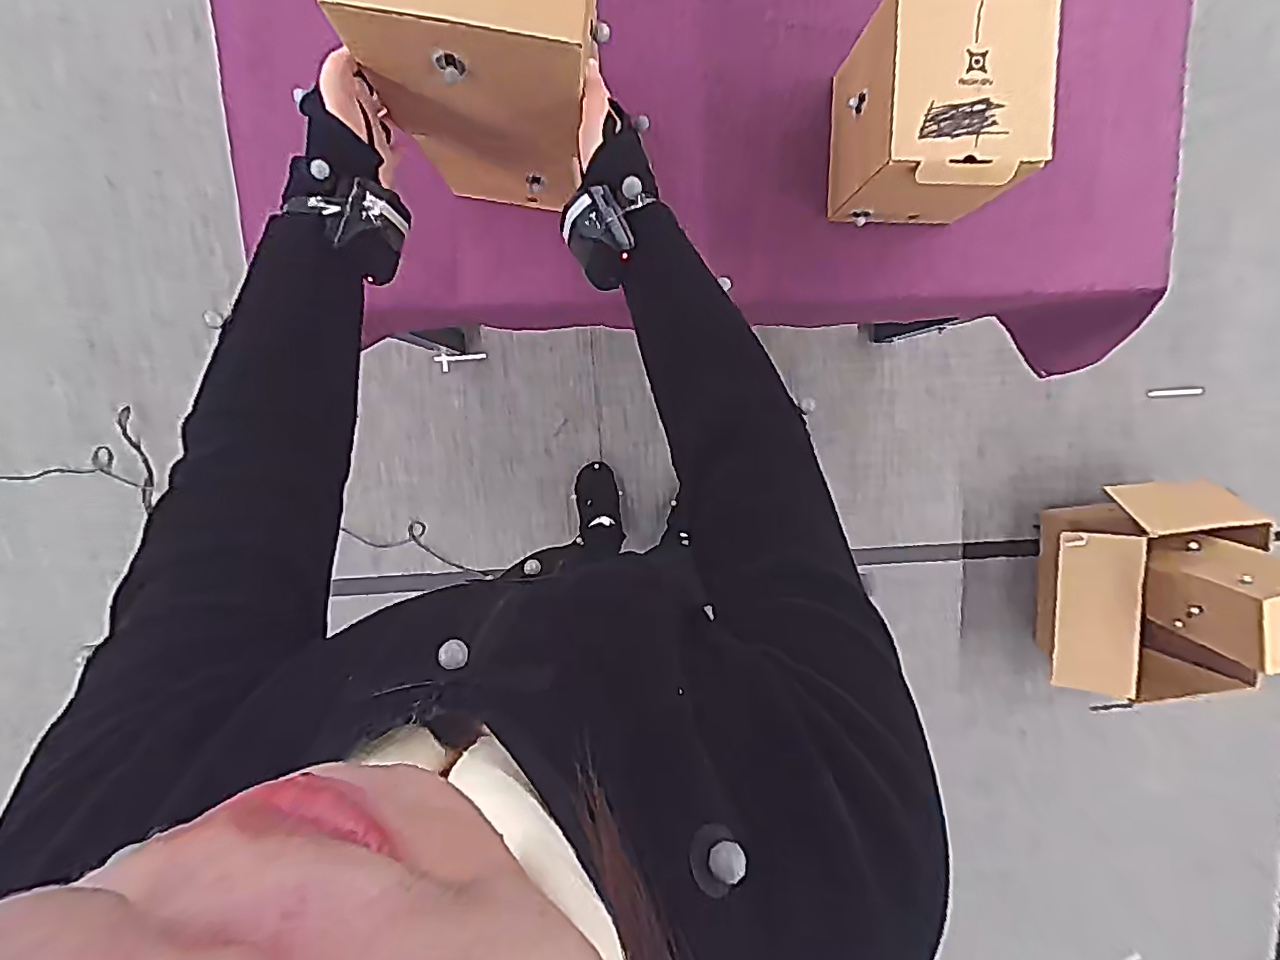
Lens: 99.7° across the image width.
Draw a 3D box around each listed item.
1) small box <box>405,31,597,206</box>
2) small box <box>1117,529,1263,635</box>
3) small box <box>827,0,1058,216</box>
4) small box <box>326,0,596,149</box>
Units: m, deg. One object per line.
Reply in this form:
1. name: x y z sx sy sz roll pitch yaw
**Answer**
1. small box: -0.140 -0.429 0.597 0.168 0.176 0.179 8 97 -4
2. small box: 1.295 0.230 1.286 0.168 0.176 0.179 -25 101 3
3. small box: 0.324 -0.417 0.614 0.168 0.176 0.179 0 96 -2
4. small box: -0.126 -0.395 0.430 0.179 0.176 0.168 5 97 -7
